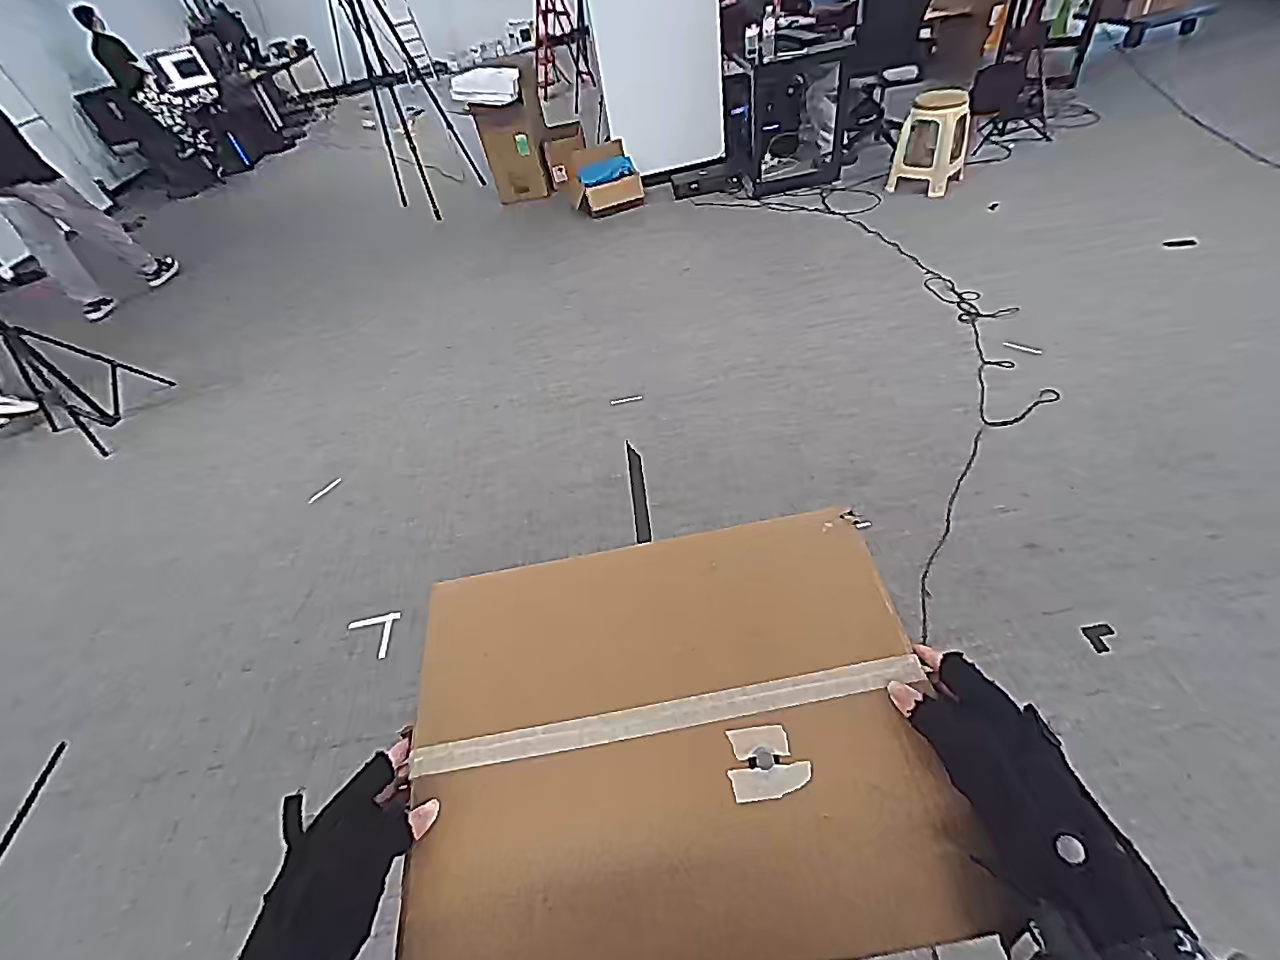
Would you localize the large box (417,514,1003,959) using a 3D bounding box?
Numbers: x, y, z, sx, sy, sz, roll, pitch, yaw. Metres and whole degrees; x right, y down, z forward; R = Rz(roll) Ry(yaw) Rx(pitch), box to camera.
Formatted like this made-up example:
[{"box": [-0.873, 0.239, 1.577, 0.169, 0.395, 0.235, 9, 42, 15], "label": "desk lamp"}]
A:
[{"box": [0.041, 0.279, 0.560, 0.408, 0.320, 0.320, -11, 54, 1], "label": "large box"}]
